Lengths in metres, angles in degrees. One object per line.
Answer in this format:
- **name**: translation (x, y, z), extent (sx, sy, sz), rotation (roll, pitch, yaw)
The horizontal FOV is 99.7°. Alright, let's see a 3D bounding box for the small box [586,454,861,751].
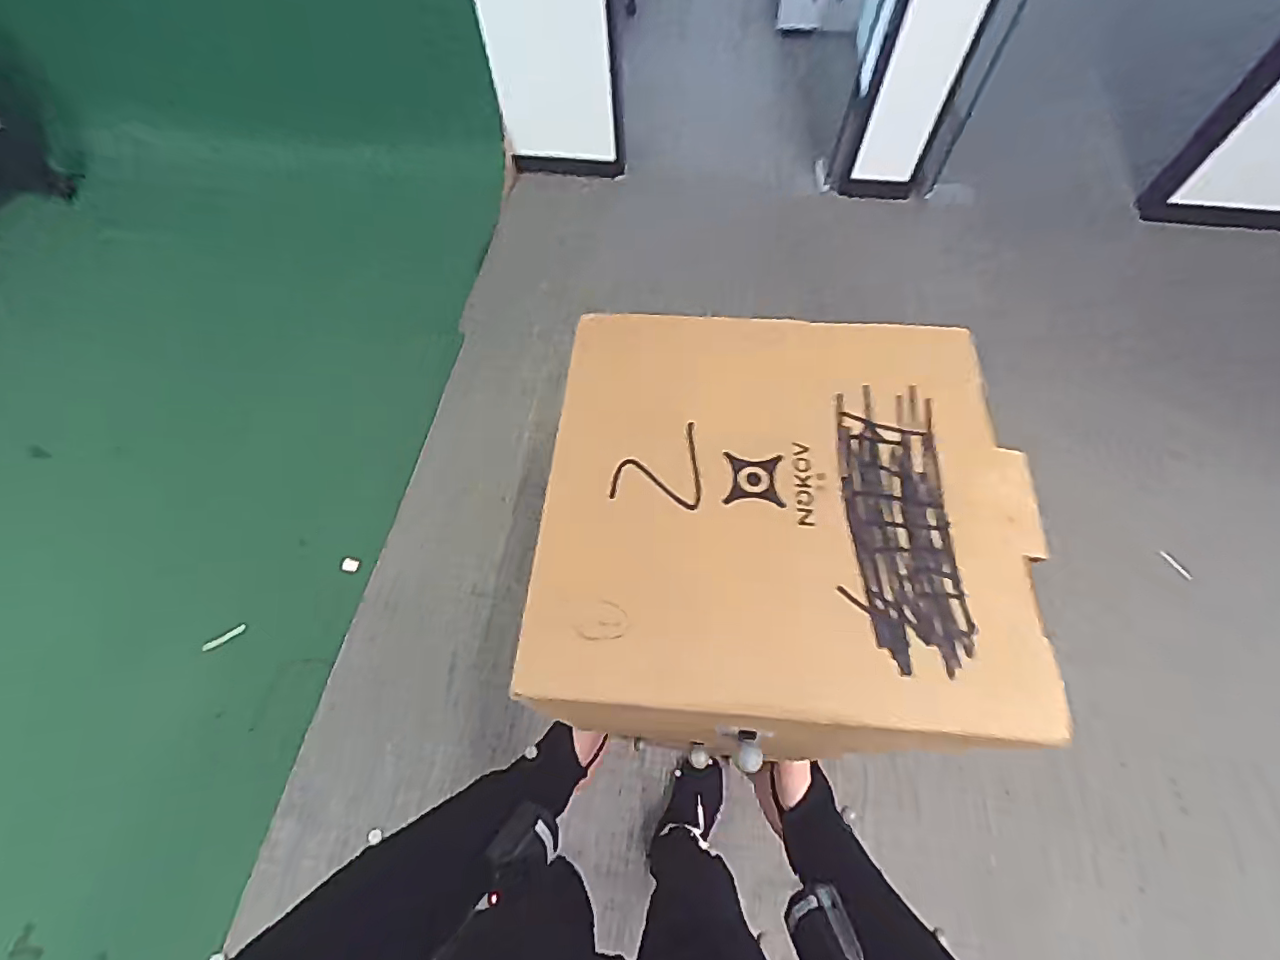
- **small box**: translation (0.062, 0.103, 0.426), extent (0.168, 0.176, 0.179), rotation (7, 63, 6)
